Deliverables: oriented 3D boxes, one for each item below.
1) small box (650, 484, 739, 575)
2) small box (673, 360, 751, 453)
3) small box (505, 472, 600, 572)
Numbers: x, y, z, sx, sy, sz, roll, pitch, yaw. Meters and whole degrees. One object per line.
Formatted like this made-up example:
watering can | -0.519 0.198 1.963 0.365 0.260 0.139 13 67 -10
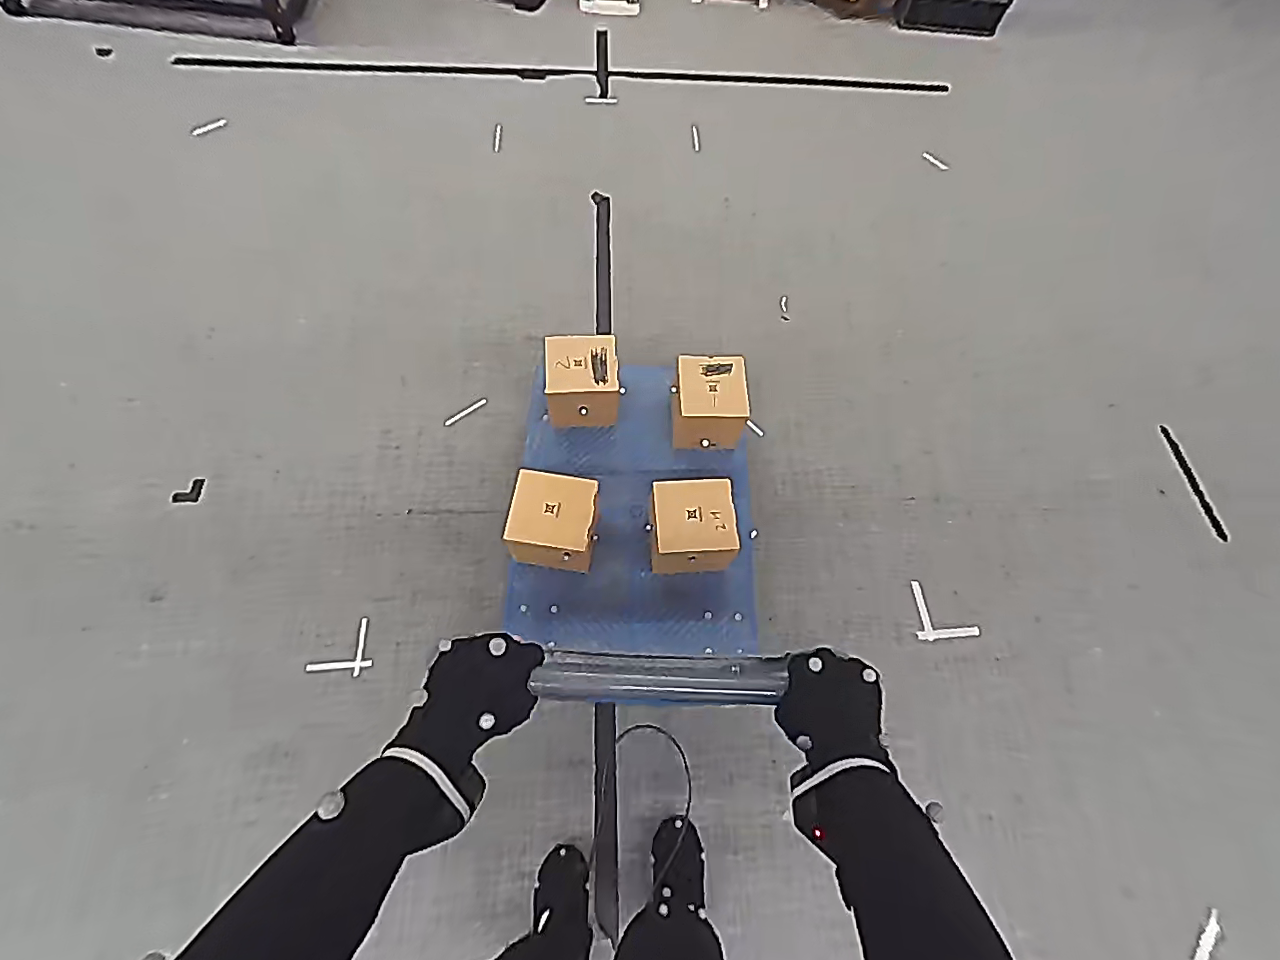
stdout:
small box | 0.116 0.117 1.240 0.179 0.176 0.168 -1 66 -4
small box | 0.175 -0.184 1.381 0.168 0.176 0.179 1 67 -3
small box | -0.190 0.101 1.227 0.179 0.176 0.168 10 65 -1
